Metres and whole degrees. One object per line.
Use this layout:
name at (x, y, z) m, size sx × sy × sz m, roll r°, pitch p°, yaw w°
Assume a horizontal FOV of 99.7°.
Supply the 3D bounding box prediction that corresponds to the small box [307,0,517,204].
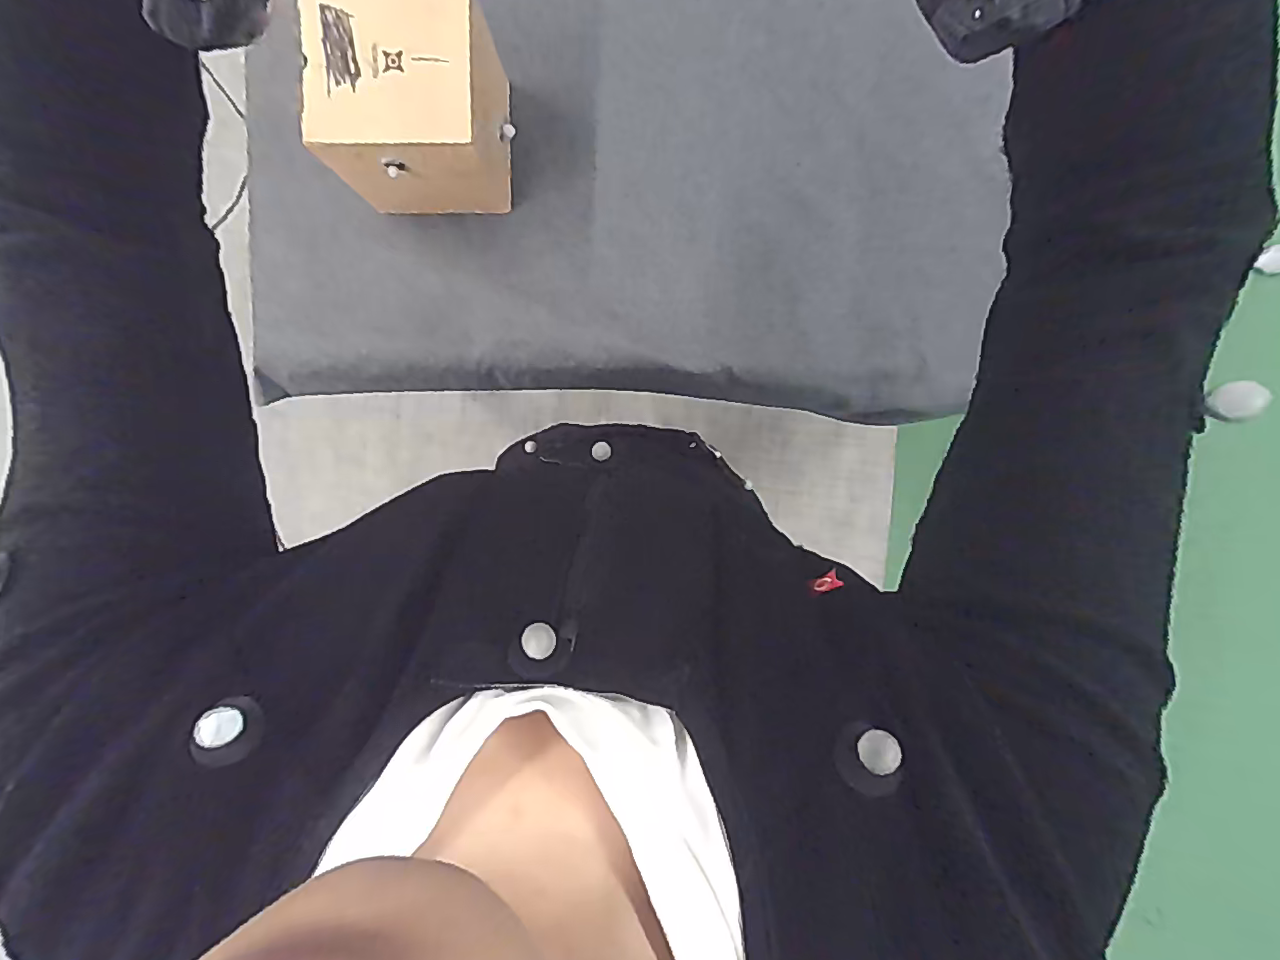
small box at (-0.249, -0.438, 0.626) m, size 0.179 × 0.176 × 0.168 m, roll 1°, pitch 95°, yaw 0°
